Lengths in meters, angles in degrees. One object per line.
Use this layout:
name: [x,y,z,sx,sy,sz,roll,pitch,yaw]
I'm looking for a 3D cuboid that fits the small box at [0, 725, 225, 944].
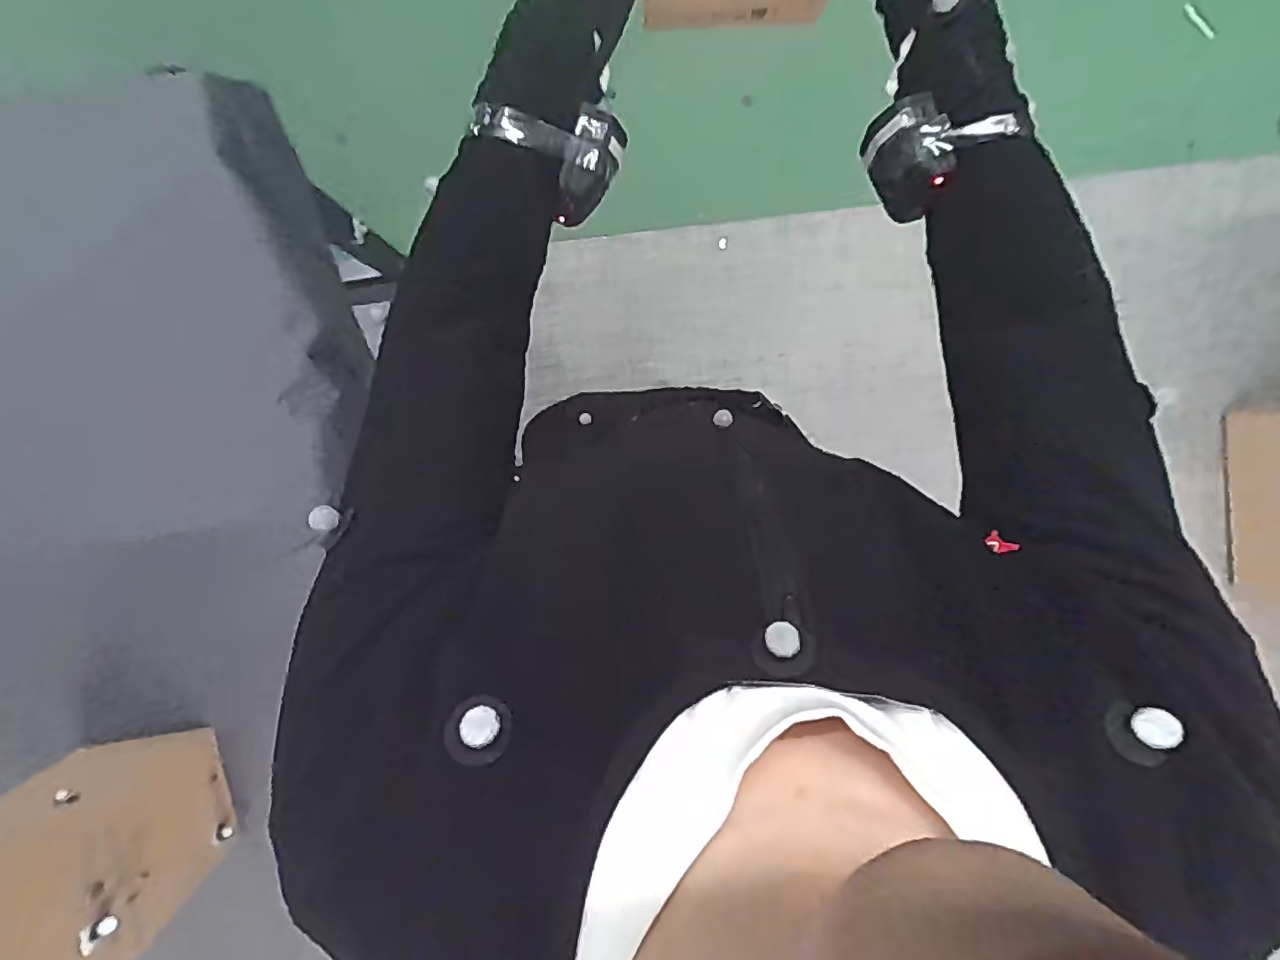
small box: [-0.643,0.419,0.647,0.179,0.176,0.168,-8,97,-2]
